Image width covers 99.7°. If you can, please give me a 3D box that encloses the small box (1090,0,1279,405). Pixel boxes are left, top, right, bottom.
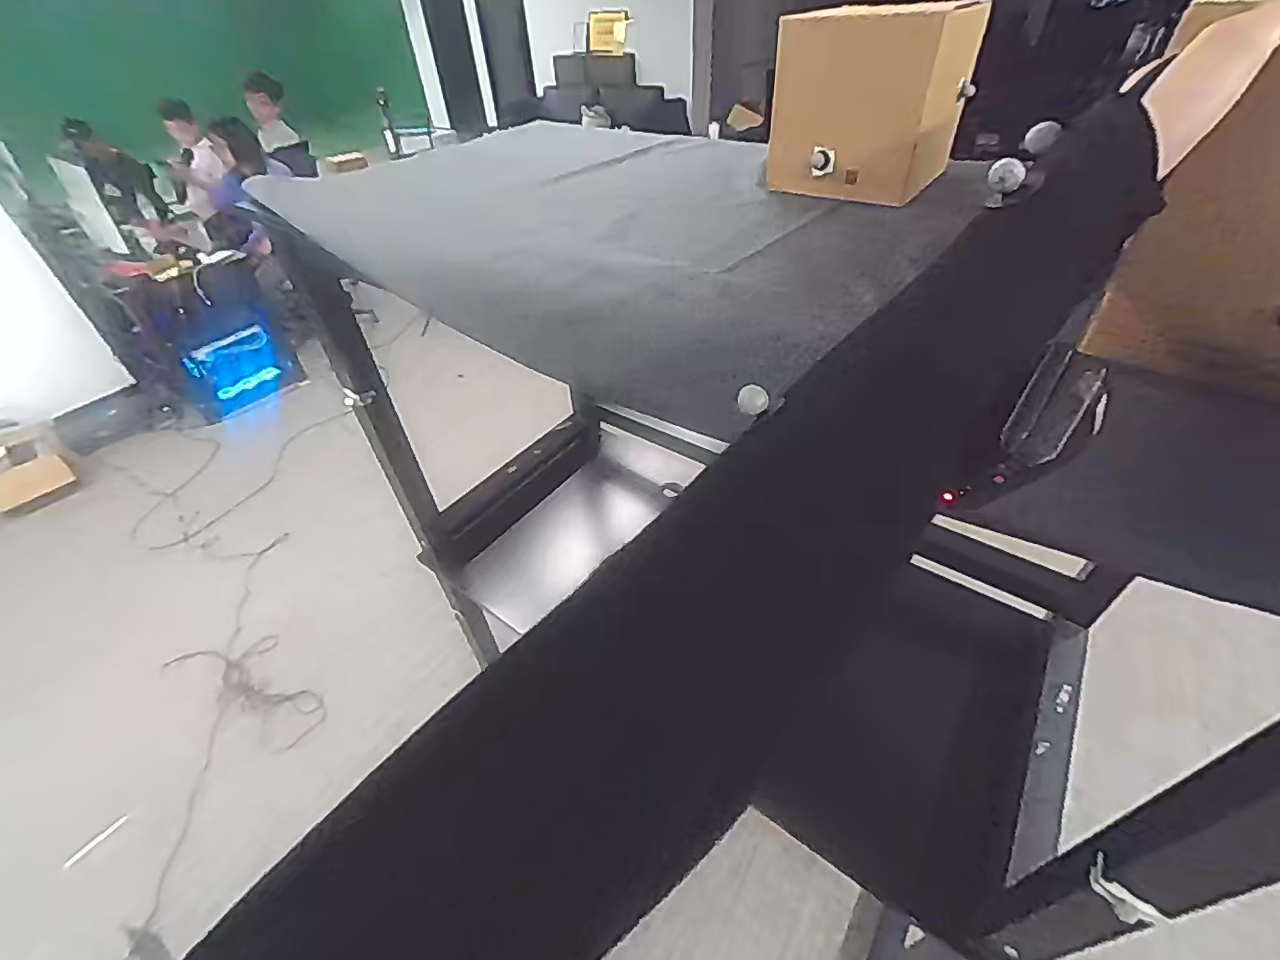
[{"bbox_3d":[0.385,-0.156,0.281,0.168,0.176,0.179,31,65,33],"label":"small box"}]

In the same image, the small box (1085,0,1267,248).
[{"bbox_3d":[0.507,-0.279,0.438,0.168,0.176,0.179,31,54,32],"label":"small box"}]

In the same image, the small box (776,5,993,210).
[{"bbox_3d":[0.270,-0.432,0.624,0.168,0.176,0.179,25,49,29],"label":"small box"}]
